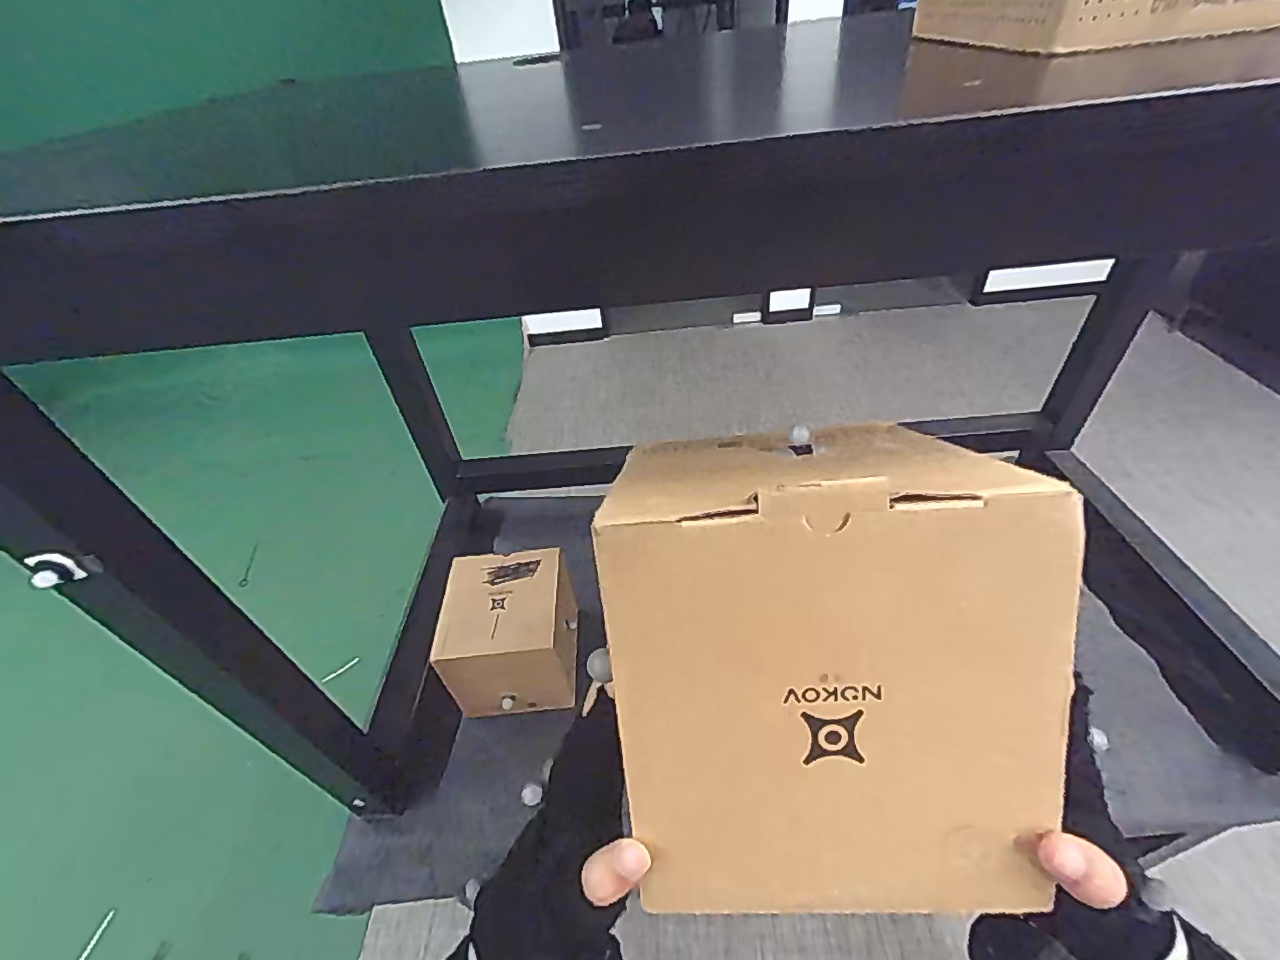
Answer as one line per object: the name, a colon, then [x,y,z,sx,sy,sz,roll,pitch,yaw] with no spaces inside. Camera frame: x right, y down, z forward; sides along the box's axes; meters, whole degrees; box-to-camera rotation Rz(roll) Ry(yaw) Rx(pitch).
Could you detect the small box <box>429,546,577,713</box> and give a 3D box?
small box: [-0.192,0.224,0.815,0.168,0.176,0.179,-6,42,1]
